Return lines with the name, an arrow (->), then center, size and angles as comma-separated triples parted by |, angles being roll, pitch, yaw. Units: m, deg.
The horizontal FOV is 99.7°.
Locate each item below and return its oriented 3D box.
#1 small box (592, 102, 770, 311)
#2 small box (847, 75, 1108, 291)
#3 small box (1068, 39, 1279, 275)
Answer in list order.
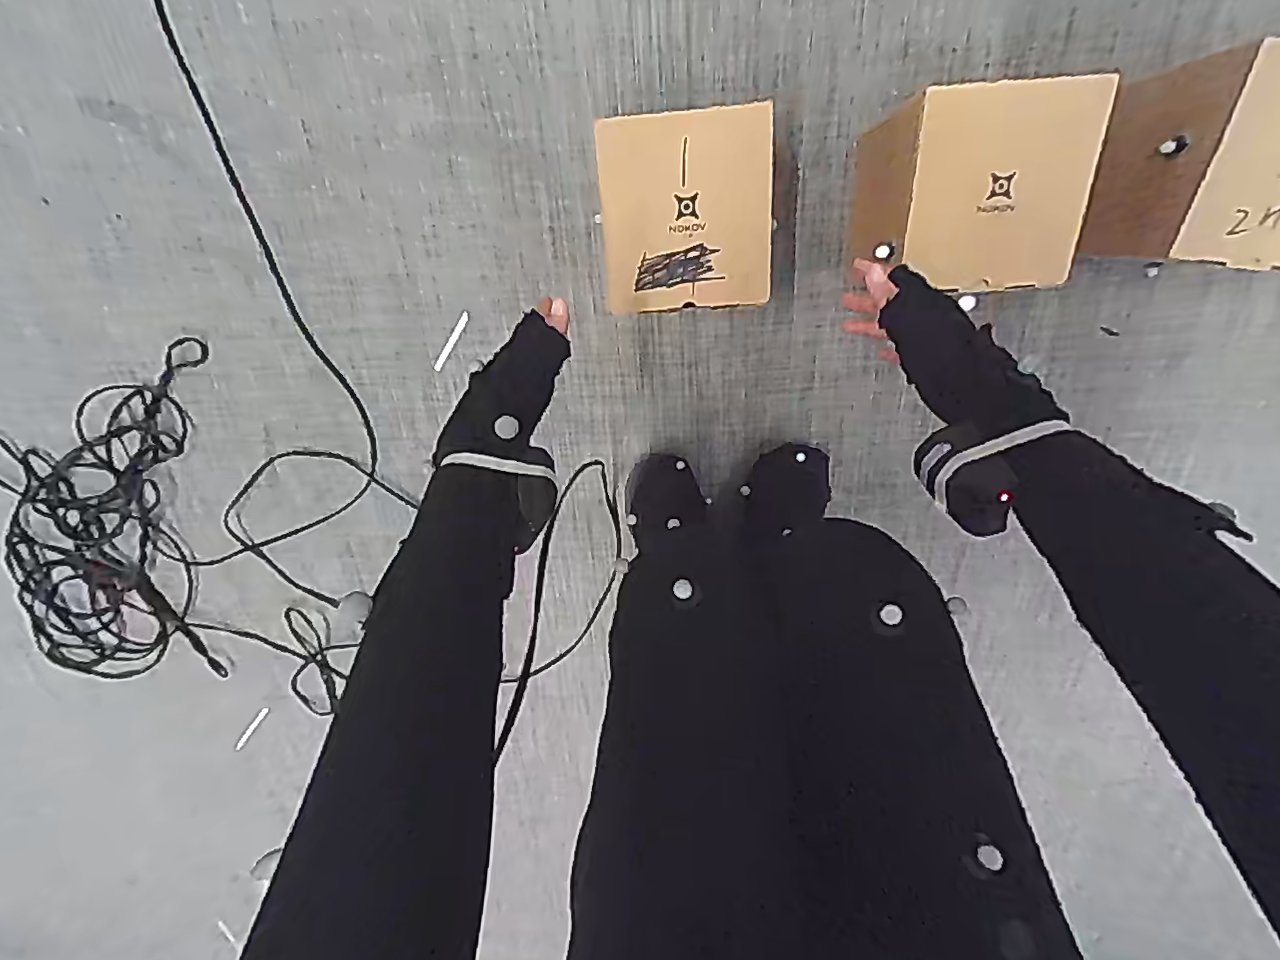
small box -> 0.045, -0.290, 0.598 | 0.168, 0.176, 0.179 | -2, 113, 4
small box -> 0.335, -0.302, 0.581 | 0.168, 0.176, 0.179 | -2, 113, 4
small box -> 0.591, -0.317, 0.563 | 0.168, 0.176, 0.179 | 6, 115, 1
